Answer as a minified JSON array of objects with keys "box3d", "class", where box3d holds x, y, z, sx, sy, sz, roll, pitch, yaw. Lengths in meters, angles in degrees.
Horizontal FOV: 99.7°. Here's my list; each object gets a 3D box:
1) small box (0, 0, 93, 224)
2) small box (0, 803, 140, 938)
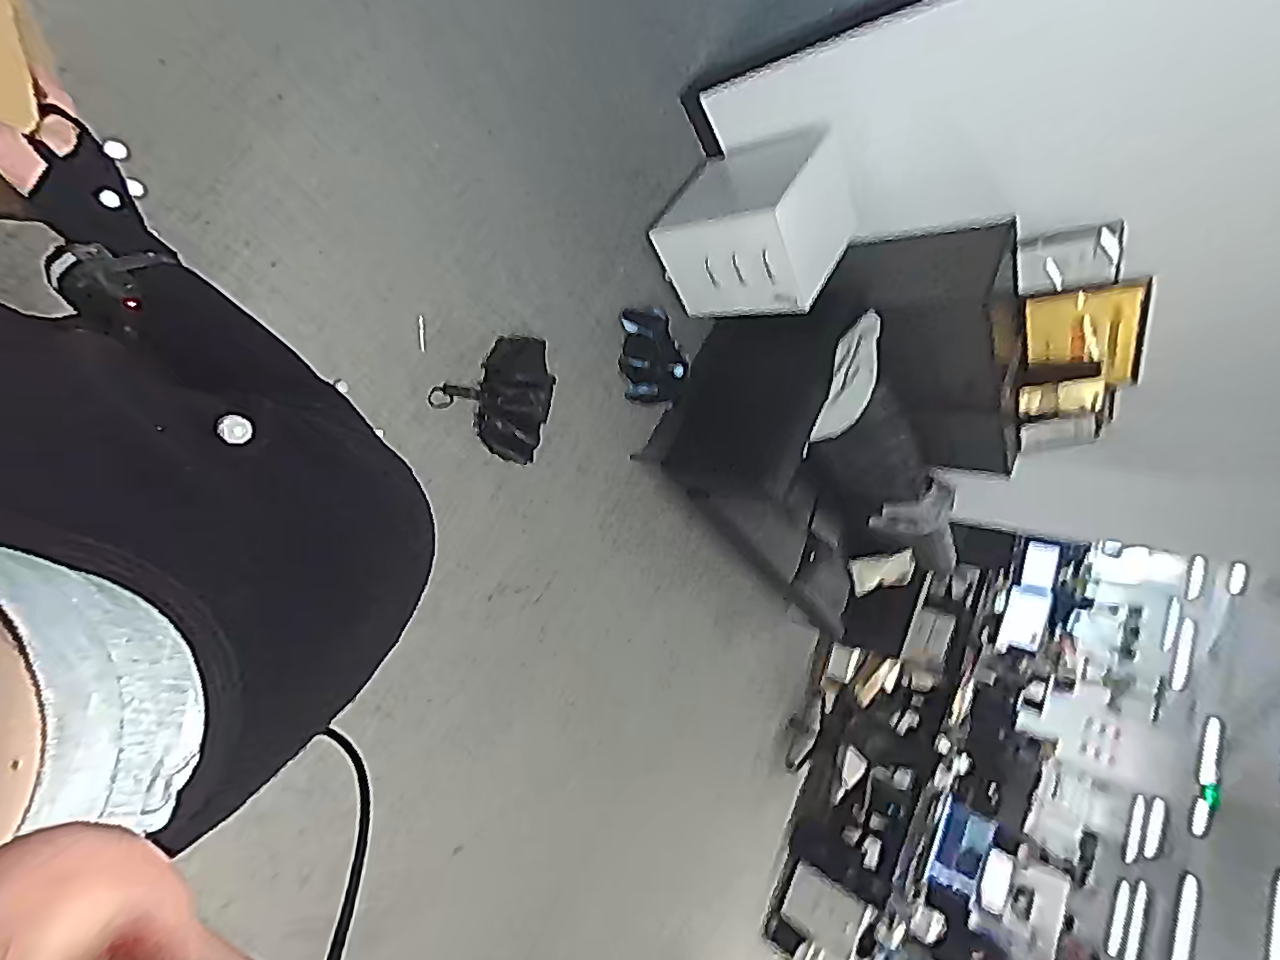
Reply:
[{"box3d":[-0.611,-0.341,0.458,0.168,0.176,0.179,-13,101,-35],"class":"small box"},{"box3d":[-1.197,0.799,1.117,0.179,0.176,0.168,45,65,-42],"class":"small box"}]
